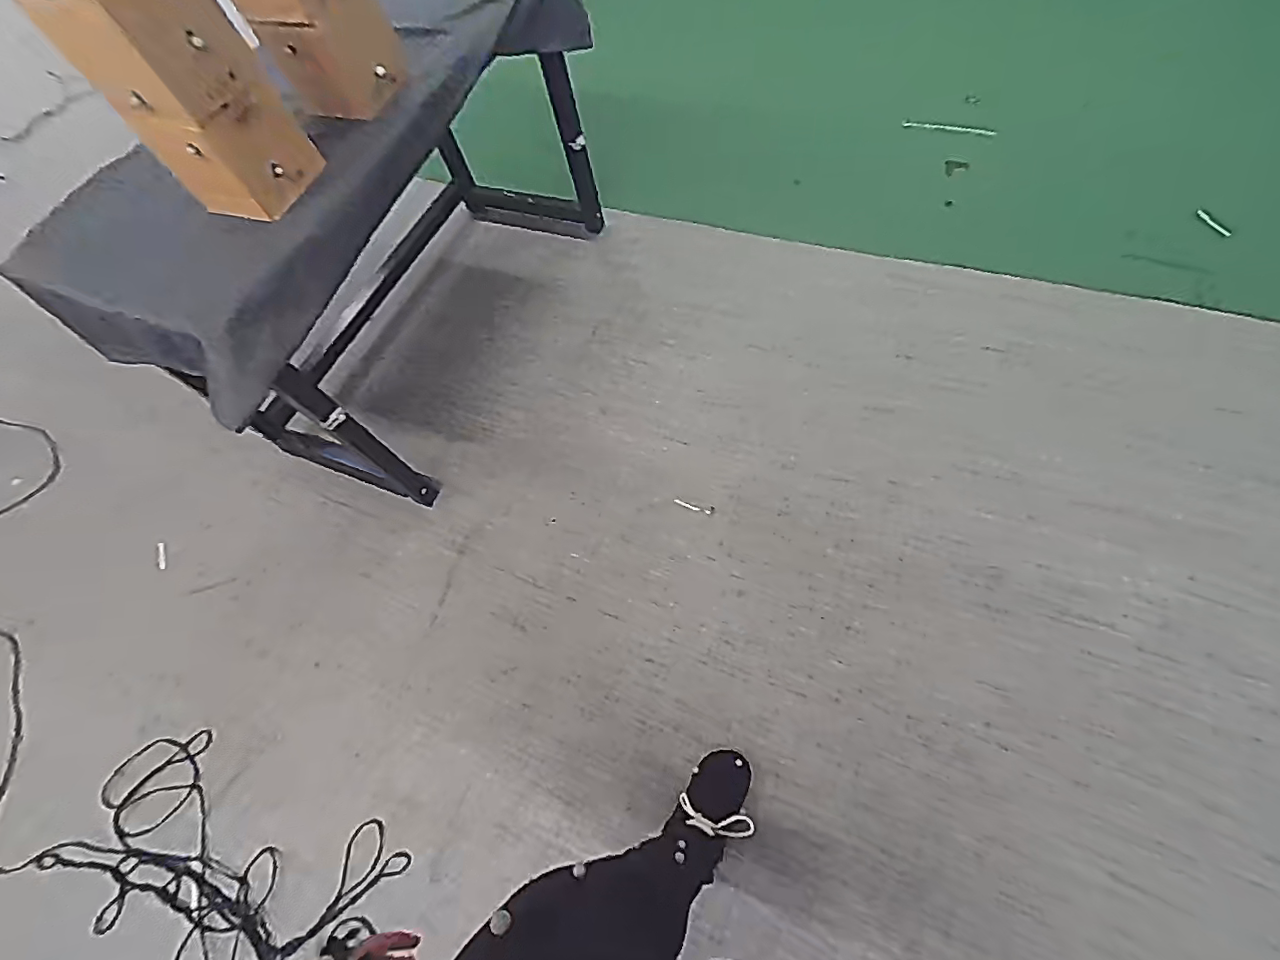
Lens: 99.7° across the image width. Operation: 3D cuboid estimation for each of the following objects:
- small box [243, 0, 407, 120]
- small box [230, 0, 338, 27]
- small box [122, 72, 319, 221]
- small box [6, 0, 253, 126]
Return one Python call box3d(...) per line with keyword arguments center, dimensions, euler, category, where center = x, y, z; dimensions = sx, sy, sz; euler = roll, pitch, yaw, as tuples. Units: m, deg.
box3d(center=(-0.603, -0.839, 1.058), dimensions=(0.179, 0.176, 0.168), euler=(16, 68, 17), category="small box")
box3d(center=(-0.629, -0.908, 0.913), dimensions=(0.179, 0.176, 0.168), euler=(18, 69, 17), category="small box")
box3d(center=(-0.724, -0.586, 0.953), dimensions=(0.179, 0.176, 0.168), euler=(15, 67, 16), category="small box")
box3d(center=(-0.743, -0.663, 0.810), dimensions=(0.179, 0.176, 0.168), euler=(14, 66, 14), category="small box")
